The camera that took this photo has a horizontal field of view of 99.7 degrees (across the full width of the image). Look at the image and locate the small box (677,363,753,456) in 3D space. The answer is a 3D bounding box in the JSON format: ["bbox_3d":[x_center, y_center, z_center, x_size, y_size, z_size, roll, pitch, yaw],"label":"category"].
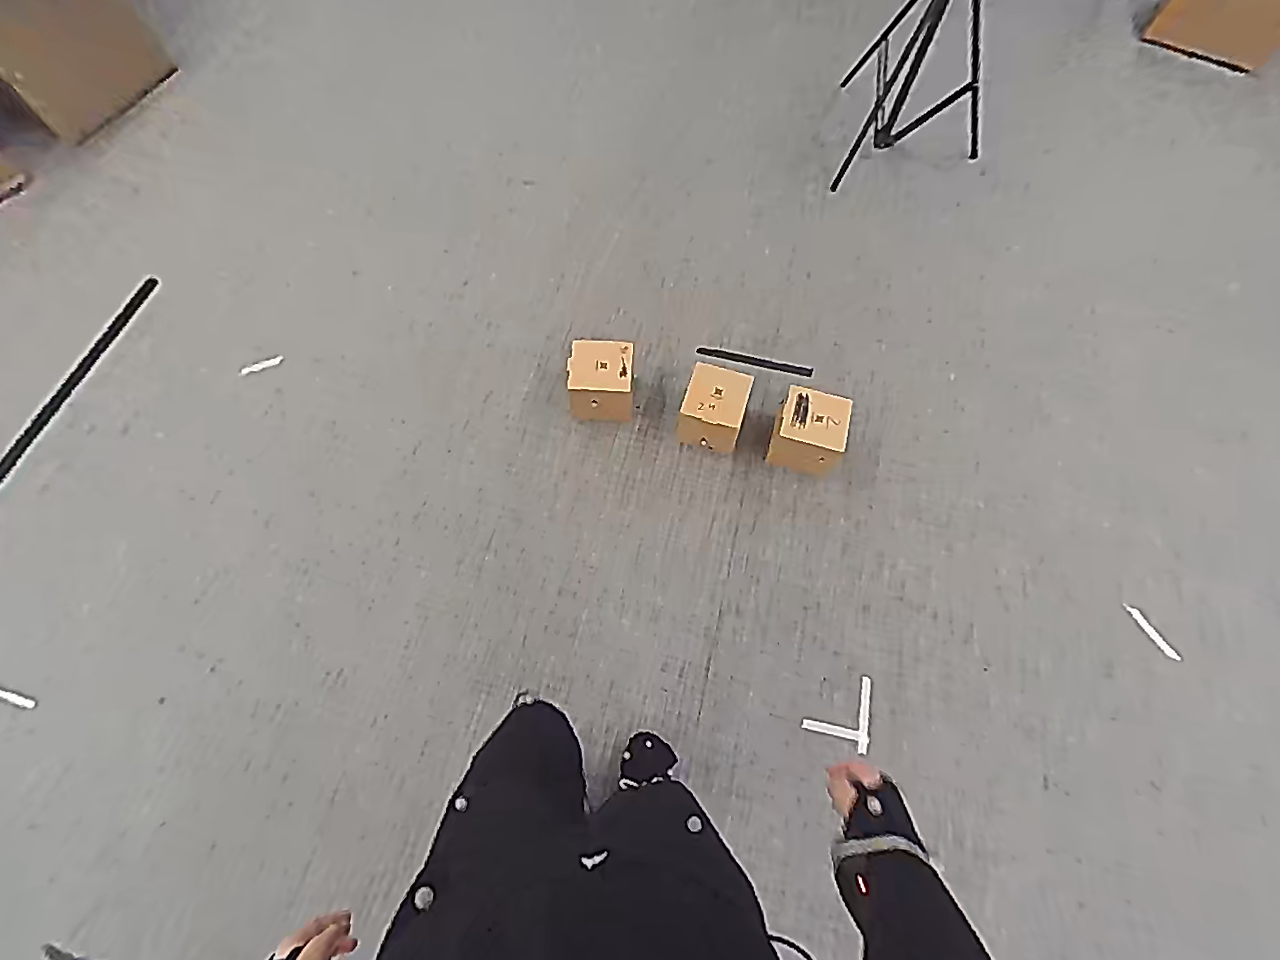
[{"bbox_3d":[0.206,-0.196,1.529,0.168,0.176,0.179,17,69,7],"label":"small box"}]

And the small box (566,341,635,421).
[{"bbox_3d":[-0.109,-0.282,1.563,0.179,0.176,0.168,3,68,2],"label":"small box"}]
